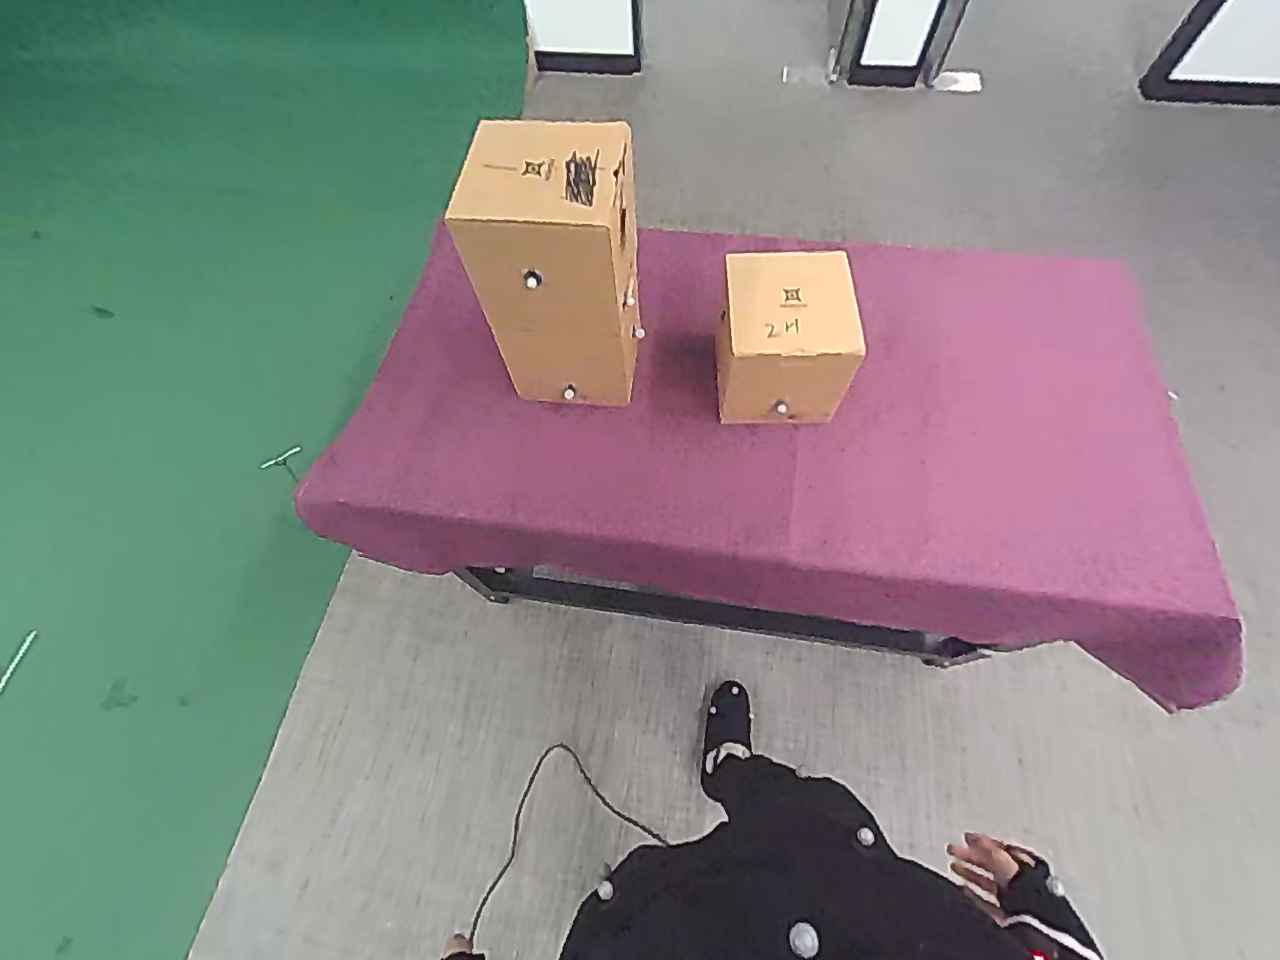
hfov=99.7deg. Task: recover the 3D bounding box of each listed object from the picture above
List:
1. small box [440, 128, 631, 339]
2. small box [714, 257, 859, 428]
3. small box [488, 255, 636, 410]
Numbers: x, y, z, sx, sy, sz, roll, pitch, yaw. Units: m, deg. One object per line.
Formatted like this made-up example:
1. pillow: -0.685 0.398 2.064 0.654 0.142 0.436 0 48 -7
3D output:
1. small box: -0.108 -0.289 0.655 0.179 0.176 0.168 5 65 6
2. small box: 0.196 -0.193 0.778 0.168 0.176 0.179 0 66 3
3. small box: -0.102 -0.219 0.804 0.179 0.176 0.168 5 65 5
